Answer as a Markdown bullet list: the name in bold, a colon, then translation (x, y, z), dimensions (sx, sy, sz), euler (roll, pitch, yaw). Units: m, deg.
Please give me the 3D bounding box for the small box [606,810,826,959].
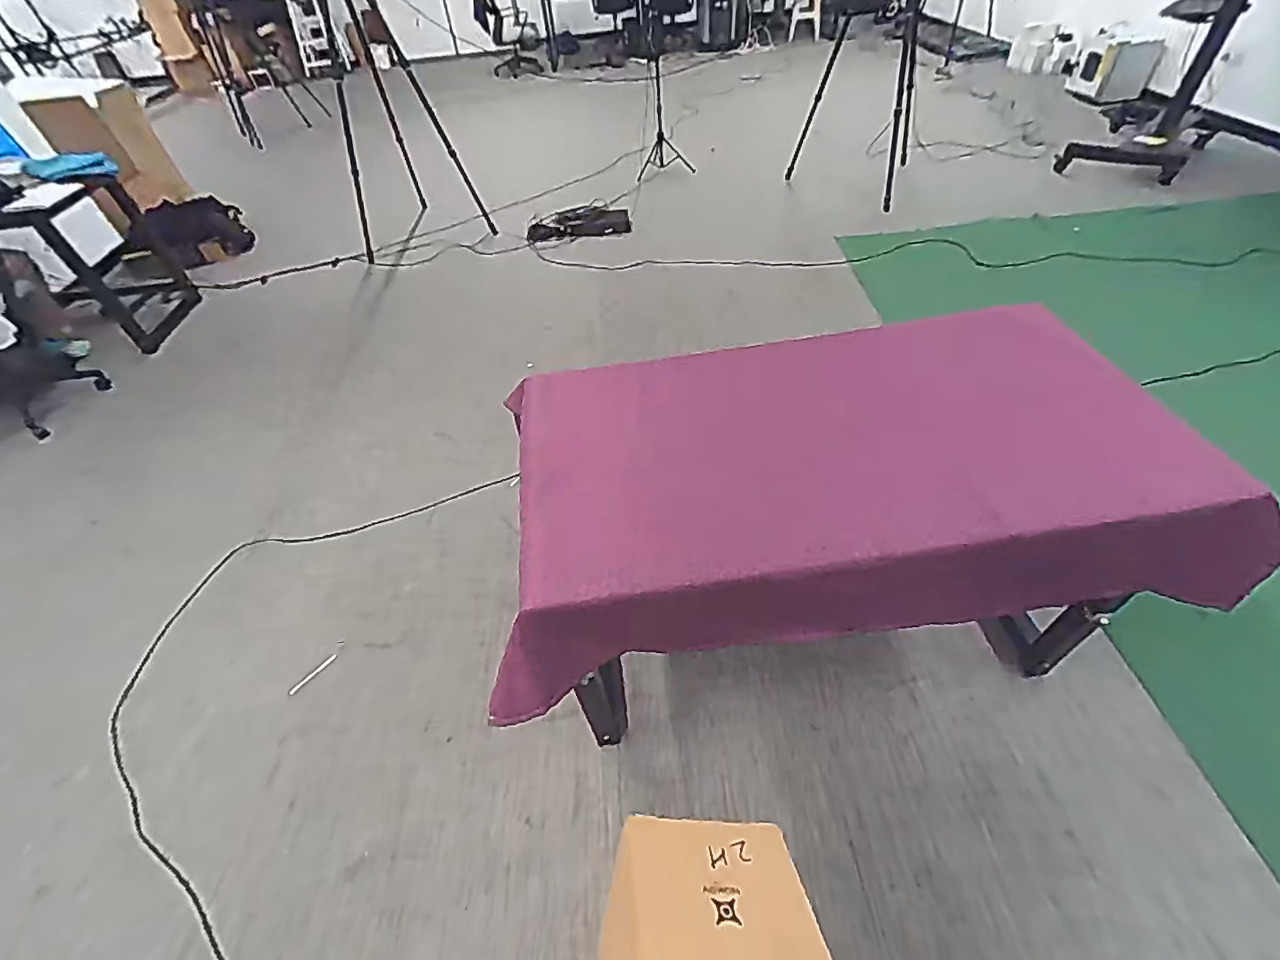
- **small box**: translation (0.060, 0.455, 0.510), dimensions (0.168, 0.176, 0.179), euler (9, 14, -7)
